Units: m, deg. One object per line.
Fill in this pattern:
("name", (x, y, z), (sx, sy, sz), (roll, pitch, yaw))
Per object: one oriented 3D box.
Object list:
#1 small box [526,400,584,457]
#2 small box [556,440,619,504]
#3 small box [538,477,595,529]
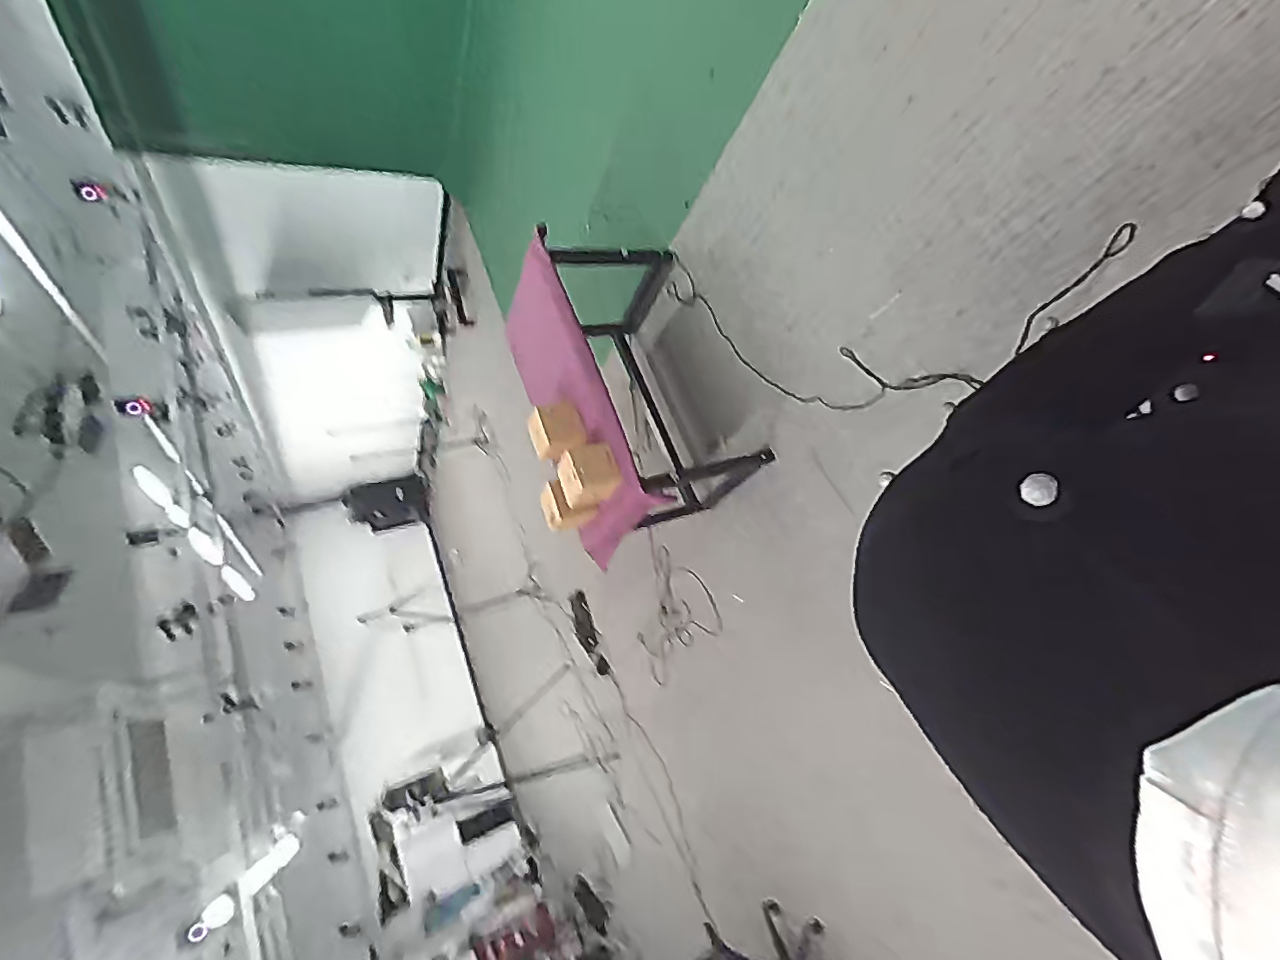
("small box", (-0.350, -0.215, 2.224), (0.168, 0.176, 0.179), (-46, 62, 57))
("small box", (-0.197, -0.031, 2.037), (0.168, 0.176, 0.179), (66, 150, 17))
("small box", (-0.309, 0.086, 2.278), (0.168, 0.176, 0.179), (-46, 61, 55))
